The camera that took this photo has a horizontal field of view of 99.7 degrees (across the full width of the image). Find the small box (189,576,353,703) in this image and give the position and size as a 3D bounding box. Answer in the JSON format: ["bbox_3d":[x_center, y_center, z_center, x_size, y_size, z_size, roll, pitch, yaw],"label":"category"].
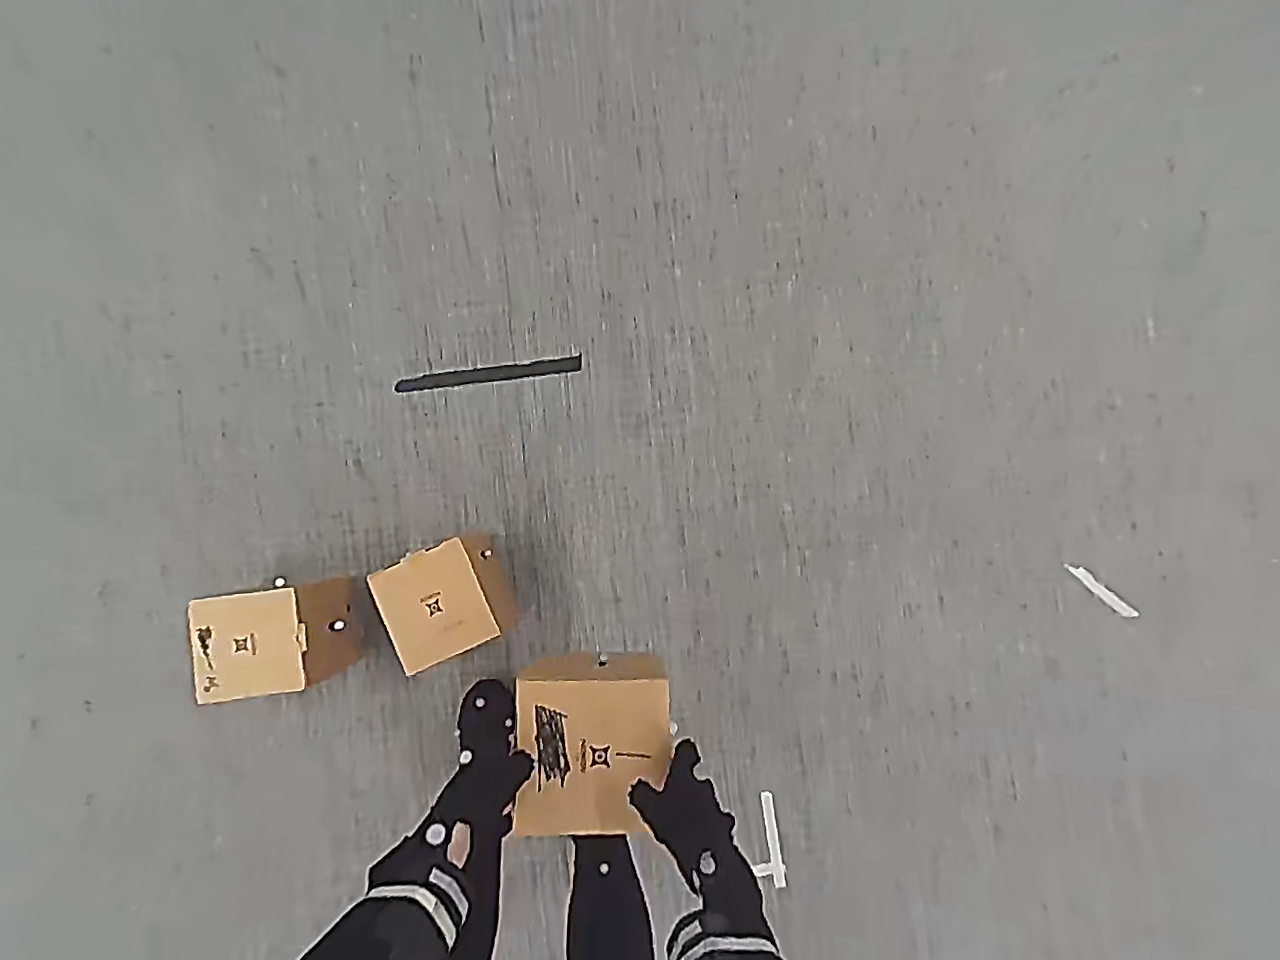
[{"bbox_3d":[-0.620,0.265,0.934,0.179,0.176,0.168,-7,86,-2],"label":"small box"}]

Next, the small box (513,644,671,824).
[{"bbox_3d":[-0.053,0.305,0.680,0.179,0.176,0.168,0,82,-2],"label":"small box"}]

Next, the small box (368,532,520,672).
[{"bbox_3d":[-0.330,0.201,0.942,0.168,0.176,0.179,-25,88,-2],"label":"small box"}]
